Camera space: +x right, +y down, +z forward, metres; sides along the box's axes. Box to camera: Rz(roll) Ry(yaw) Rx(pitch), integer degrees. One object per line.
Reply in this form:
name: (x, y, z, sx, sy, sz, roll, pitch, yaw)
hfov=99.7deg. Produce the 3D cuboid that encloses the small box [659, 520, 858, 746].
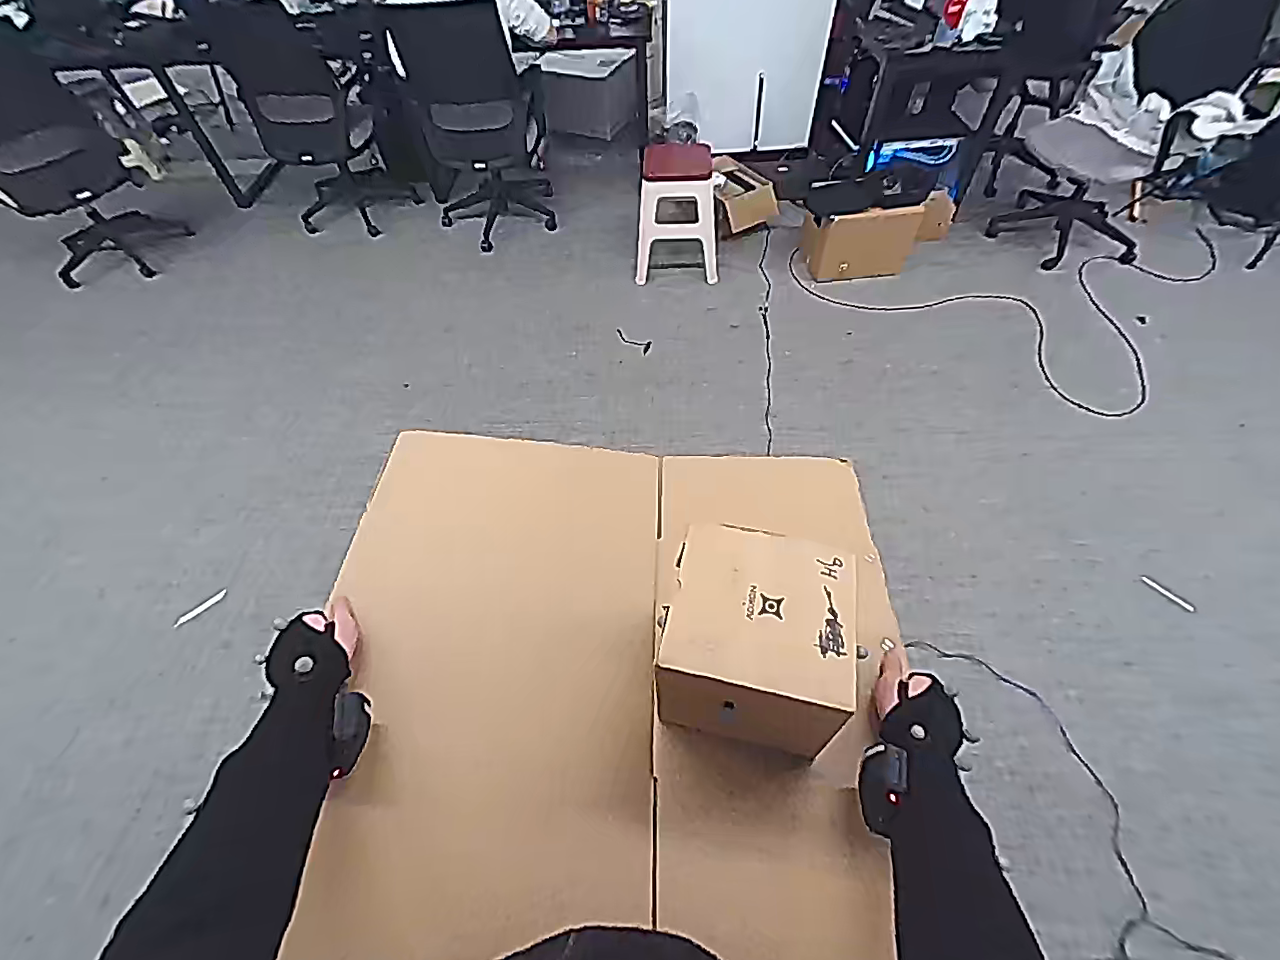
small box: (0.126, 0.169, 0.587, 0.179, 0.176, 0.168, 9, 52, 12)
